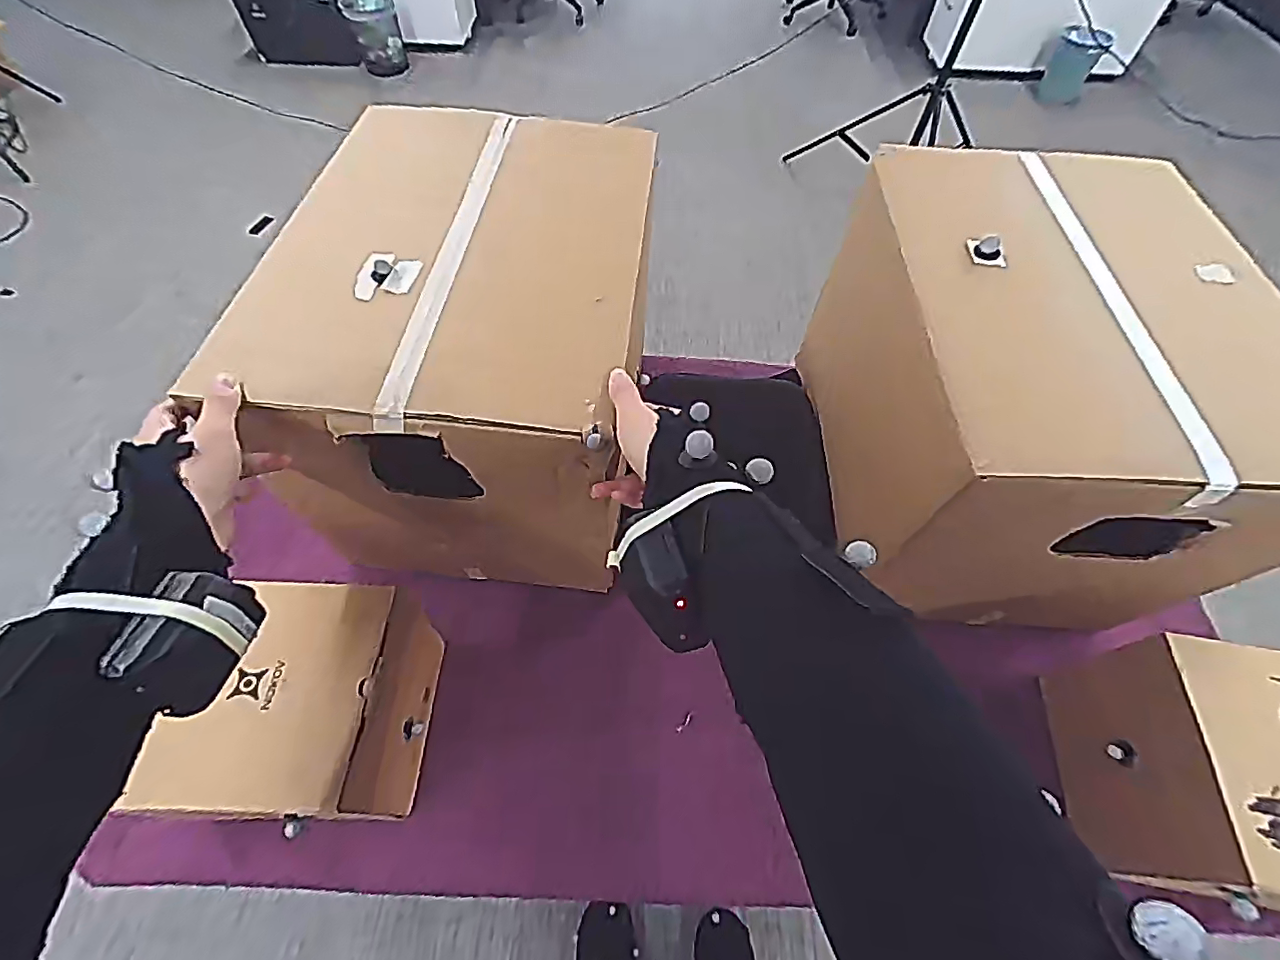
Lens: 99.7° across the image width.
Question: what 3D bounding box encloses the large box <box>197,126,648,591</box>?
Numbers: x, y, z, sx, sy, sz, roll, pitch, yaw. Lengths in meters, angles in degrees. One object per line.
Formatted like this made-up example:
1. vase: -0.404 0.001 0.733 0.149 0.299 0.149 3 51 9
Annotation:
1. large box: -0.164 -0.123 0.615 0.320 0.320 0.408 5 60 1

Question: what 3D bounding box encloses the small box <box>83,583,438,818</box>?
1. small box: -0.302 0.203 0.483 0.179 0.176 0.168 2 57 -4
